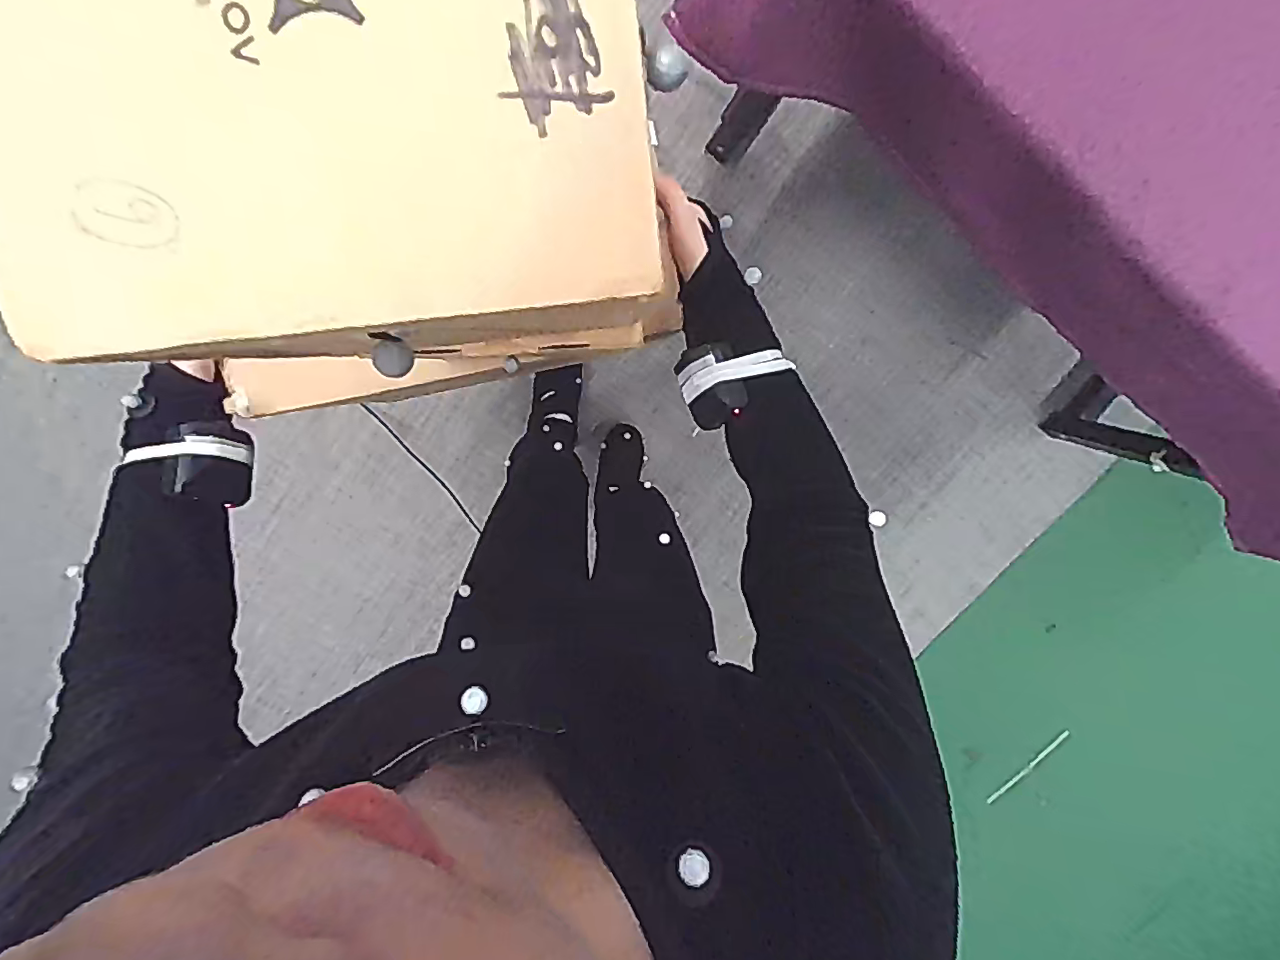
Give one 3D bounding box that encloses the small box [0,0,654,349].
[{"bbox_3d":[-0.090,-0.143,0.215,0.179,0.176,0.168,-6,105,-1],"label":"small box"}]
